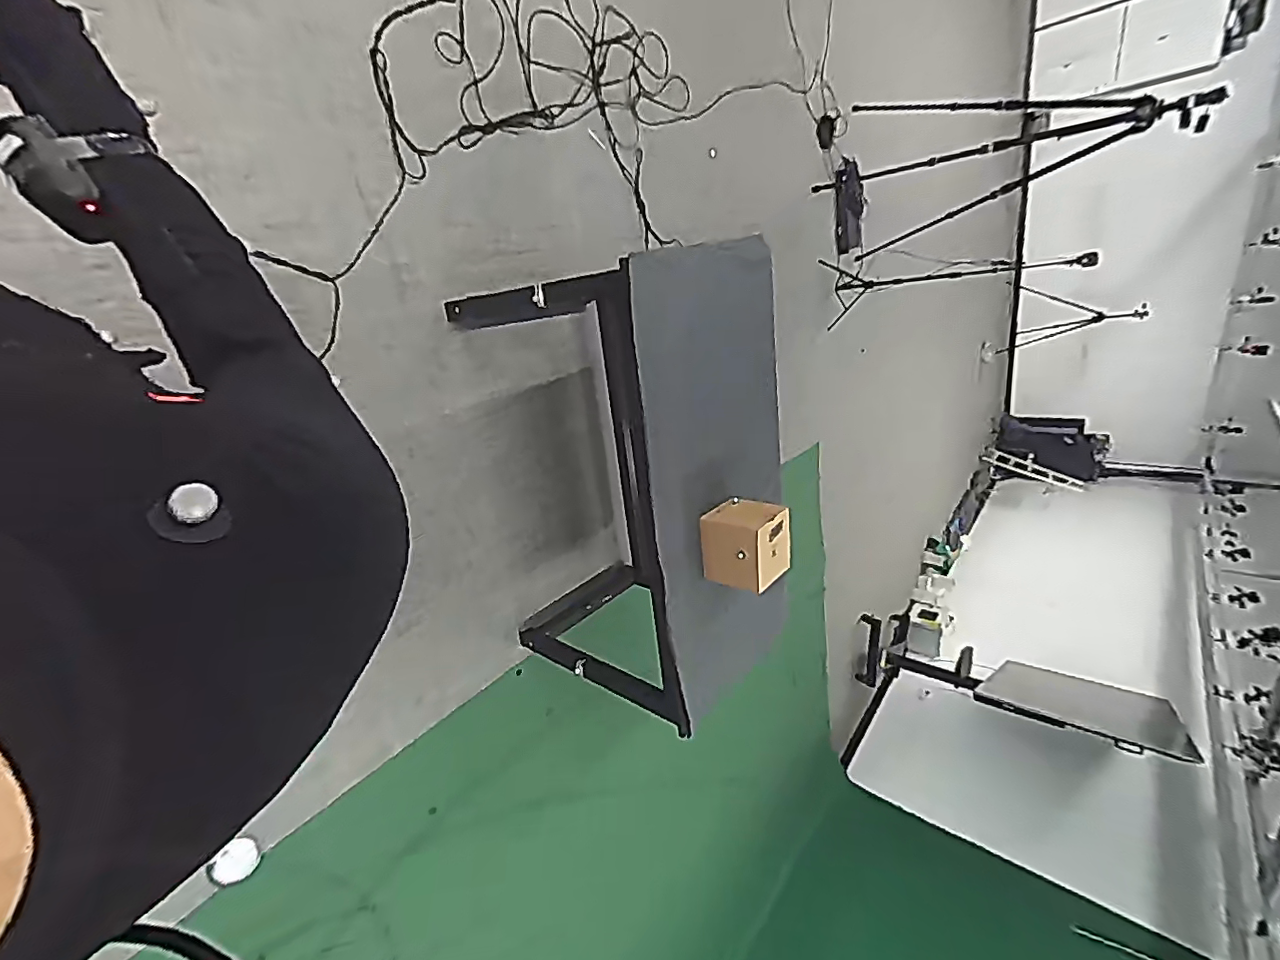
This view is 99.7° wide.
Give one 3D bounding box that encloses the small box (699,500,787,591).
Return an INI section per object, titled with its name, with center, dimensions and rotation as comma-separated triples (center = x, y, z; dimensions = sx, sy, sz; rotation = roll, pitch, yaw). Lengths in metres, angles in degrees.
[small box]
center = 0.266, 0.158, 1.404
dimensions = 0.168, 0.176, 0.179
rotation = -25, 116, -44
